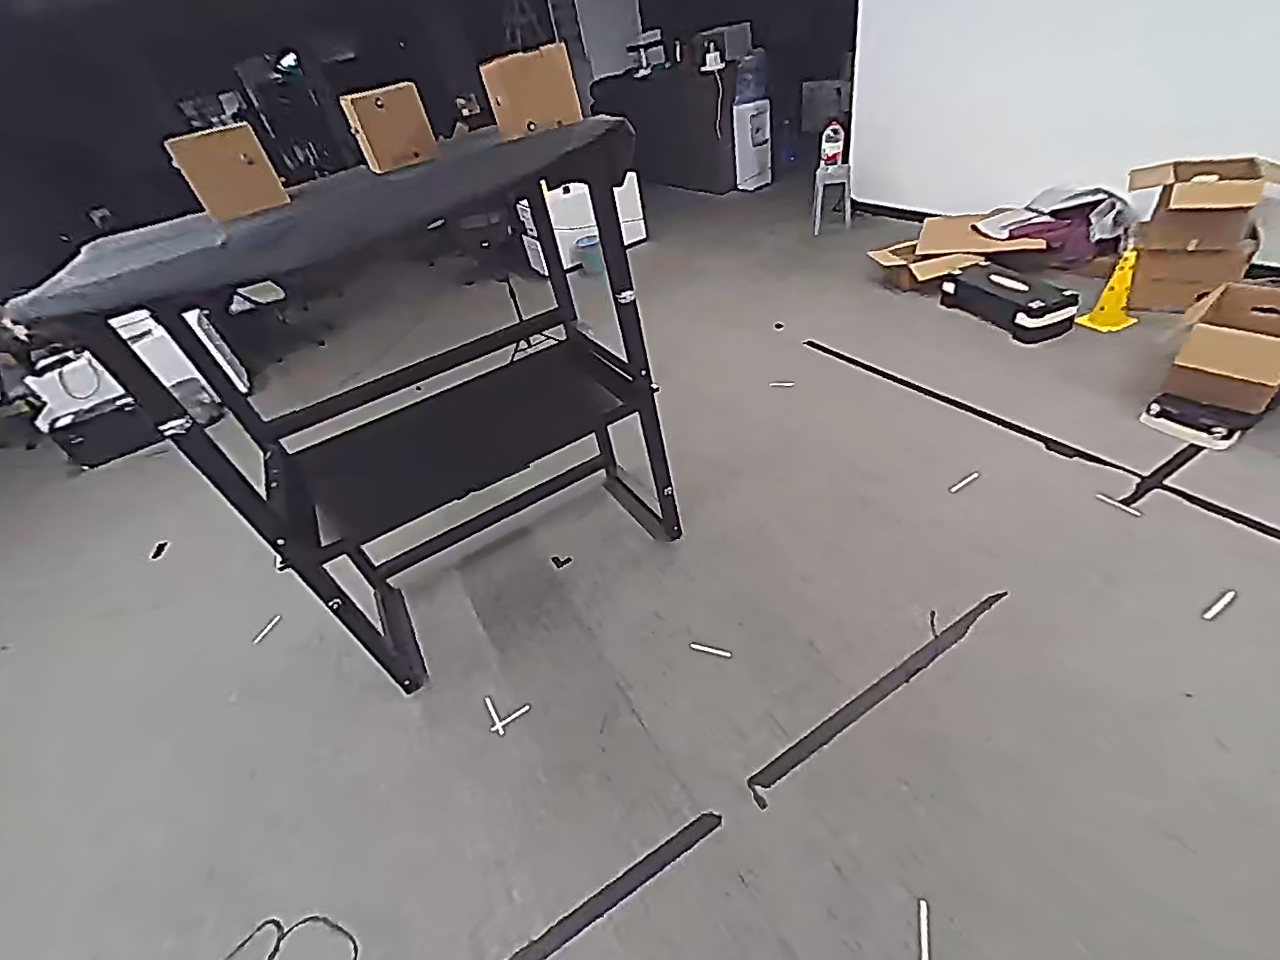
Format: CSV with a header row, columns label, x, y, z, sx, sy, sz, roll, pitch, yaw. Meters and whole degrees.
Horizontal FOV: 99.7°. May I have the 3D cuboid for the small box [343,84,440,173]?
label,x,y,z,sx,sy,sz,roll,pitch,yaw
small box,-0.659,-0.930,1.436,0.168,0.176,0.179,-29,42,-17

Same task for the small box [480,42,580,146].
label,x,y,z,sx,sy,sz,roll,pitch,yaw
small box,-0.264,-0.933,1.320,0.168,0.176,0.179,-27,38,-15
